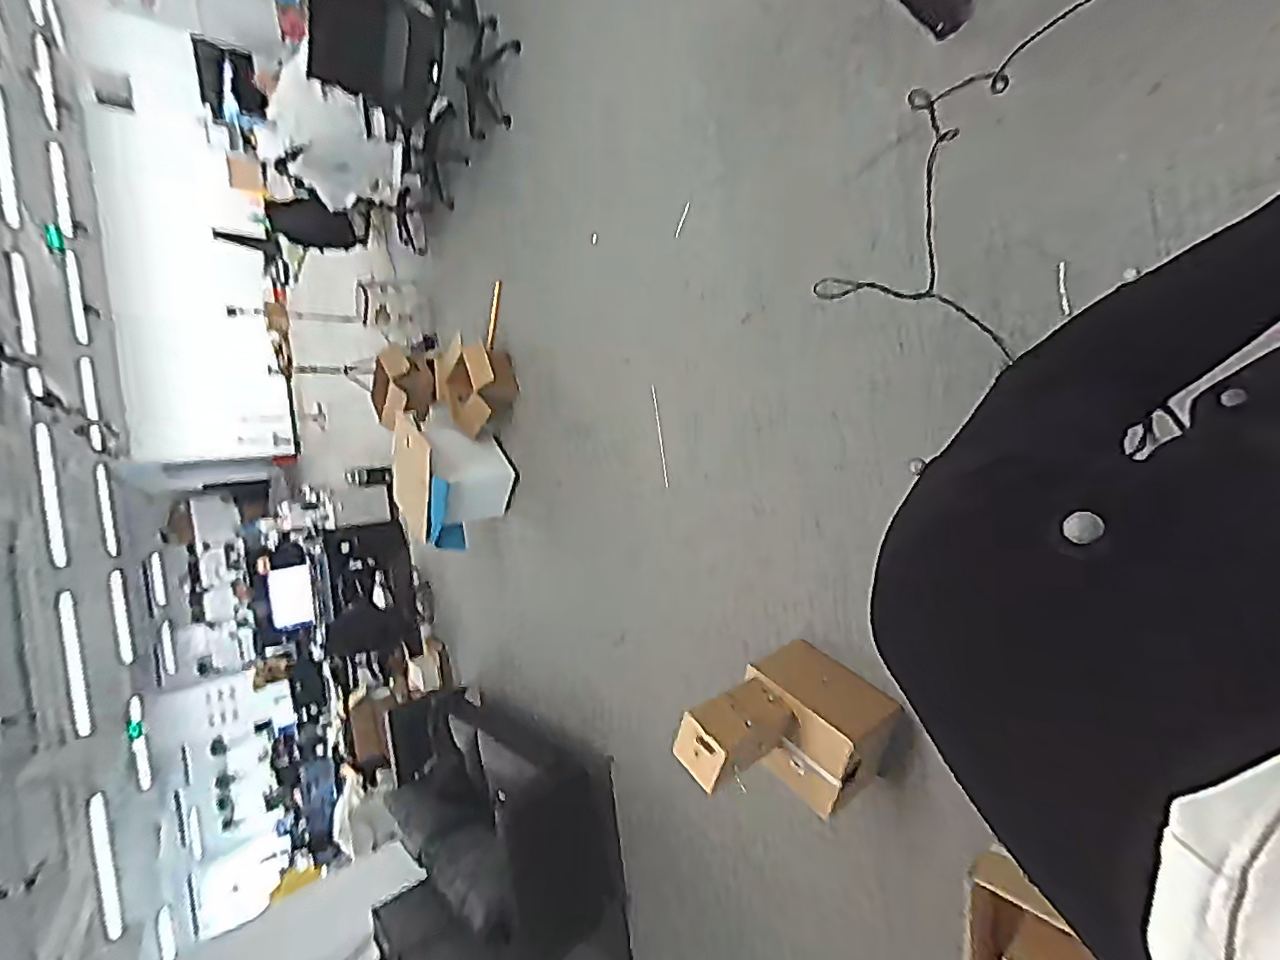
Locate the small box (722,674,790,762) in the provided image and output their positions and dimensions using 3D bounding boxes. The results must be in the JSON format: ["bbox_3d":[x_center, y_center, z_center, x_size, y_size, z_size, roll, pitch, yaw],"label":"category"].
[{"bbox_3d":[0.353,0.759,1.730,0.168,0.176,0.179,35,120,41],"label":"small box"}]

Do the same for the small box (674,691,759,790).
[{"bbox_3d":[0.232,0.771,1.619,0.168,0.176,0.179,35,122,40],"label":"small box"}]

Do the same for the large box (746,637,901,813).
[{"bbox_3d":[0.590,0.799,1.837,0.408,0.320,0.320,27,117,44],"label":"large box"}]
